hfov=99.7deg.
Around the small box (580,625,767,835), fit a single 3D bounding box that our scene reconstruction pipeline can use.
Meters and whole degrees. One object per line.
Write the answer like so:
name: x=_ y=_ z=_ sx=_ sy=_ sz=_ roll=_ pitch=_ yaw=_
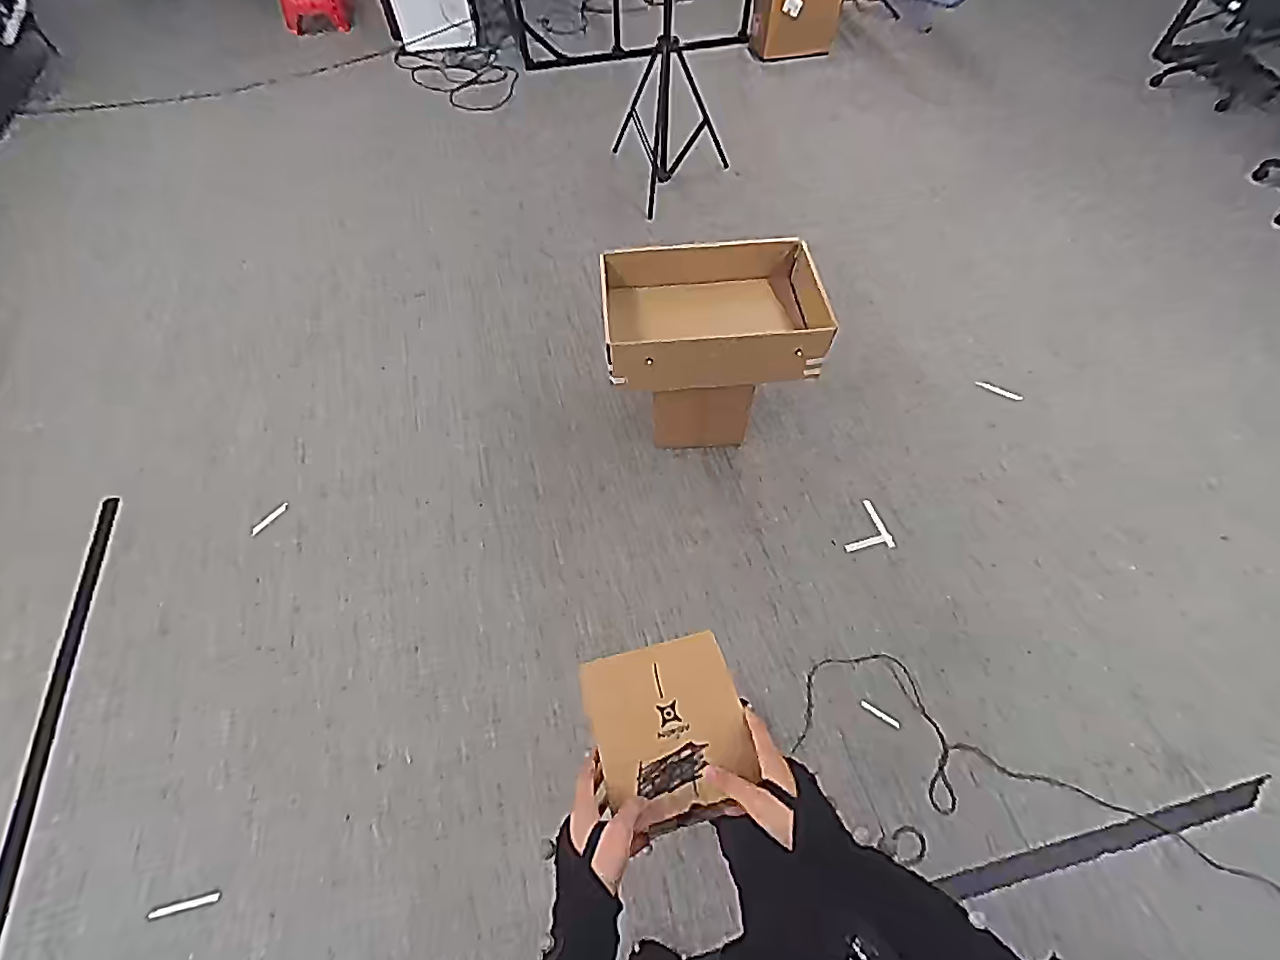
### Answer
small box: x=0.030 y=0.305 z=0.649 sx=0.168 sy=0.176 sz=0.179 roll=-12 pitch=53 yaw=-11
